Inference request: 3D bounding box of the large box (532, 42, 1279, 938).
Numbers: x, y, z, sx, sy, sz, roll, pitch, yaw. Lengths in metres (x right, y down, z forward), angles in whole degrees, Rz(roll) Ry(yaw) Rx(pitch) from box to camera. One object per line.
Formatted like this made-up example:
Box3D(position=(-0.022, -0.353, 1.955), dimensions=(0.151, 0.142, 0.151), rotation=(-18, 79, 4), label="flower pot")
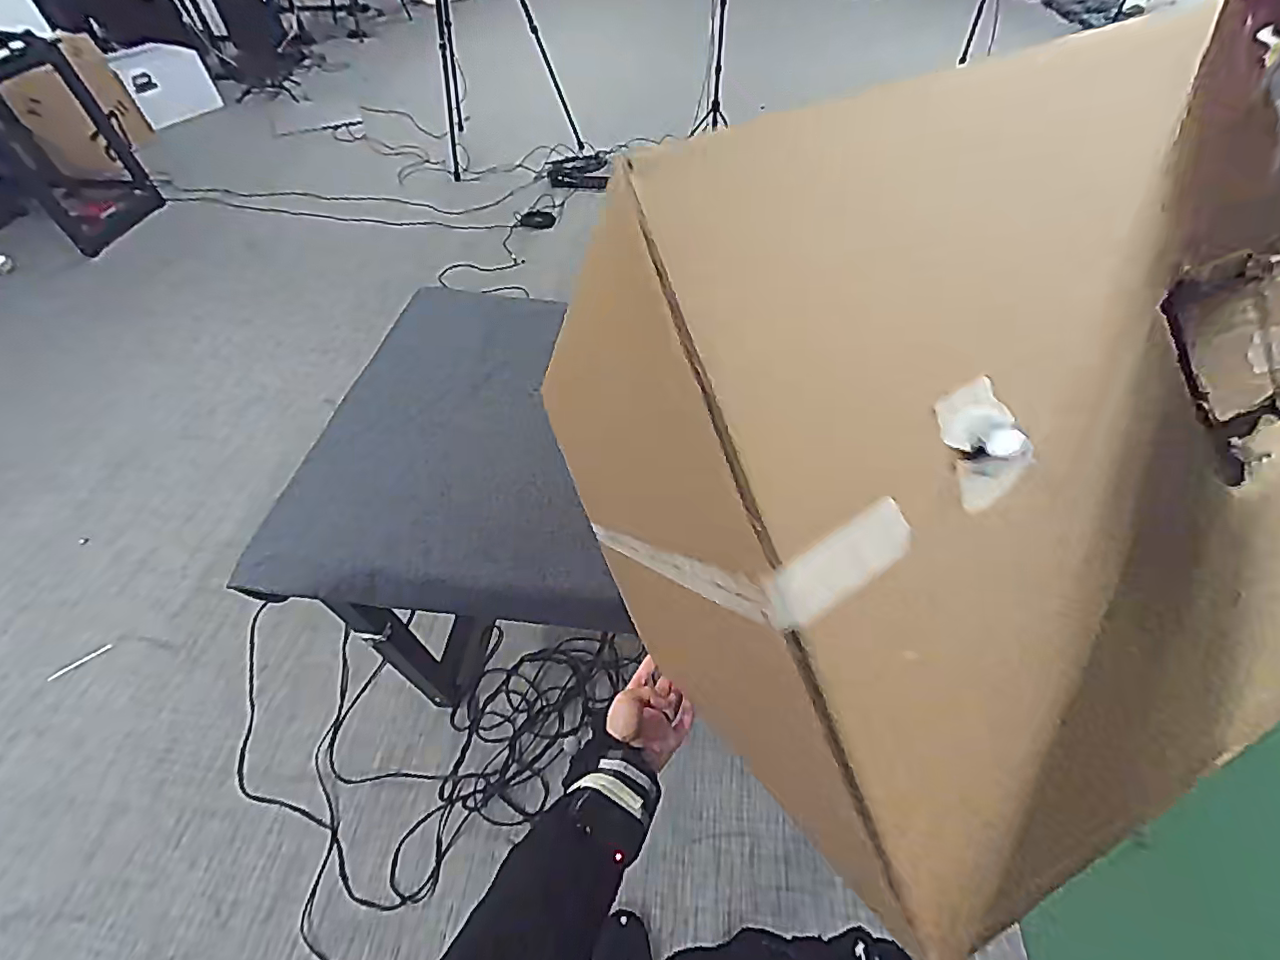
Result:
Box3D(position=(0.133, -0.011, 0.417), dimensions=(0.320, 0.408, 0.320), rotation=(-24, 95, -15), label="large box")
